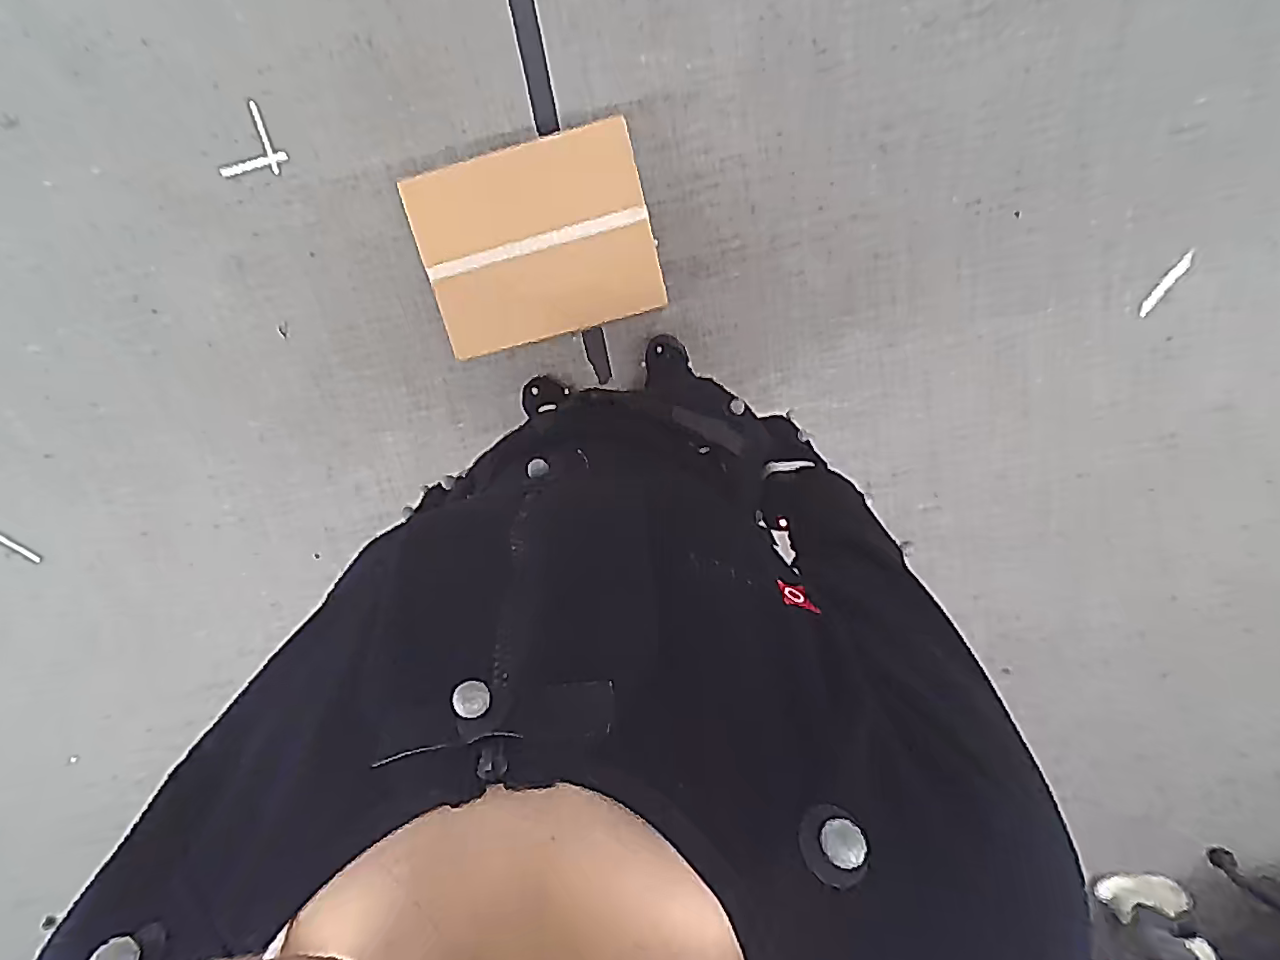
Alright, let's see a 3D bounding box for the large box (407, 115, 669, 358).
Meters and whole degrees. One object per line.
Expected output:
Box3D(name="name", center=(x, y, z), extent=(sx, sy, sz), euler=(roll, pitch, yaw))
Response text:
Box3D(name="large box", center=(-0.174, -0.457, 1.097), extent=(0.408, 0.320, 0.320), euler=(-14, 106, 5))
